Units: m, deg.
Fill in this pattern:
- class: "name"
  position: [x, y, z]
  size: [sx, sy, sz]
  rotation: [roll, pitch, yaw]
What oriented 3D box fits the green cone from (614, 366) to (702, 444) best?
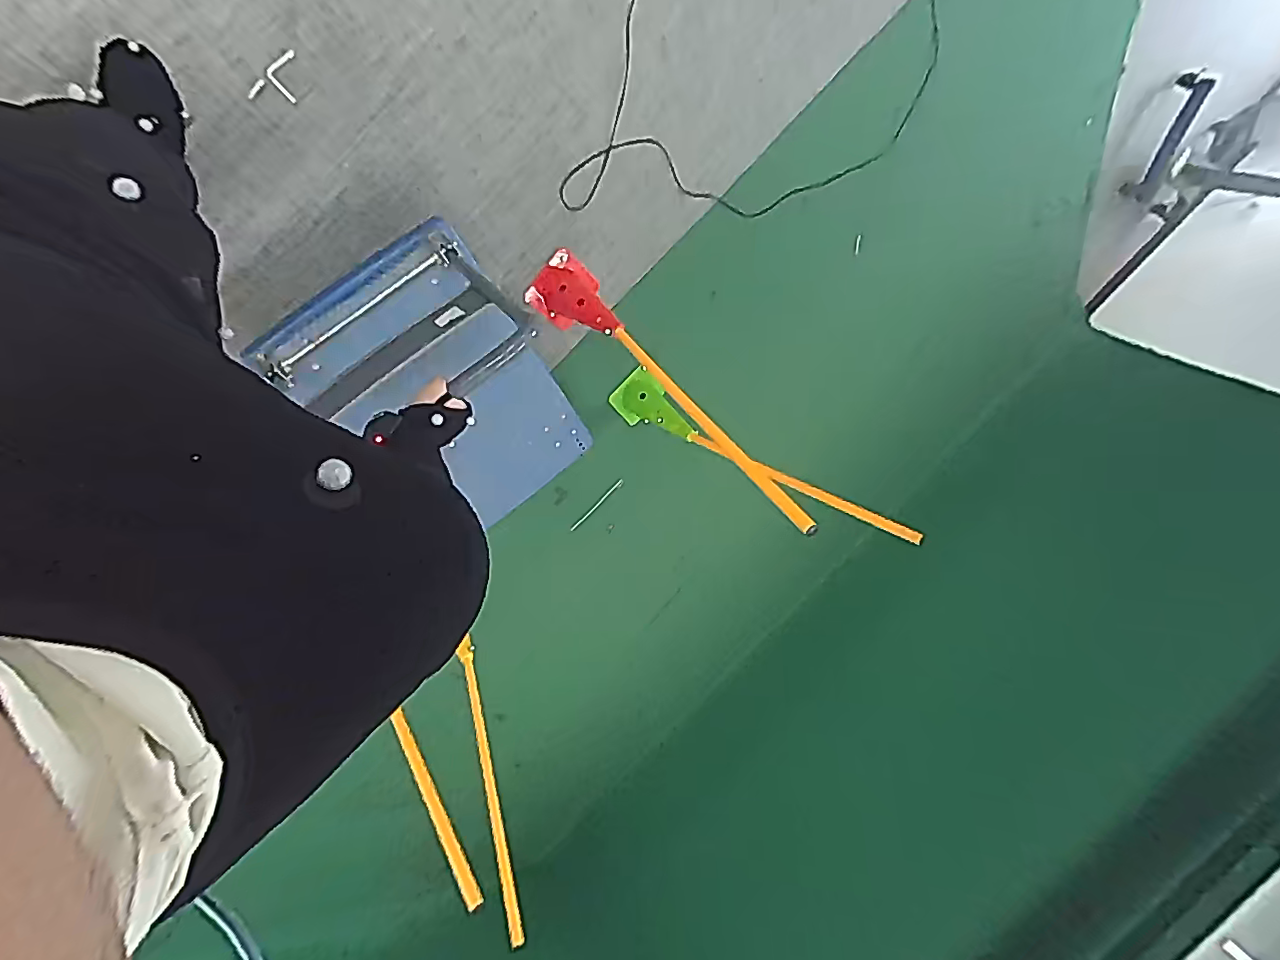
- class: "green cone"
  position: [0.101, -0.237, 2.011]
  size: [0.200, 0.368, 0.202]
  rotation: [-47, 141, 1]
